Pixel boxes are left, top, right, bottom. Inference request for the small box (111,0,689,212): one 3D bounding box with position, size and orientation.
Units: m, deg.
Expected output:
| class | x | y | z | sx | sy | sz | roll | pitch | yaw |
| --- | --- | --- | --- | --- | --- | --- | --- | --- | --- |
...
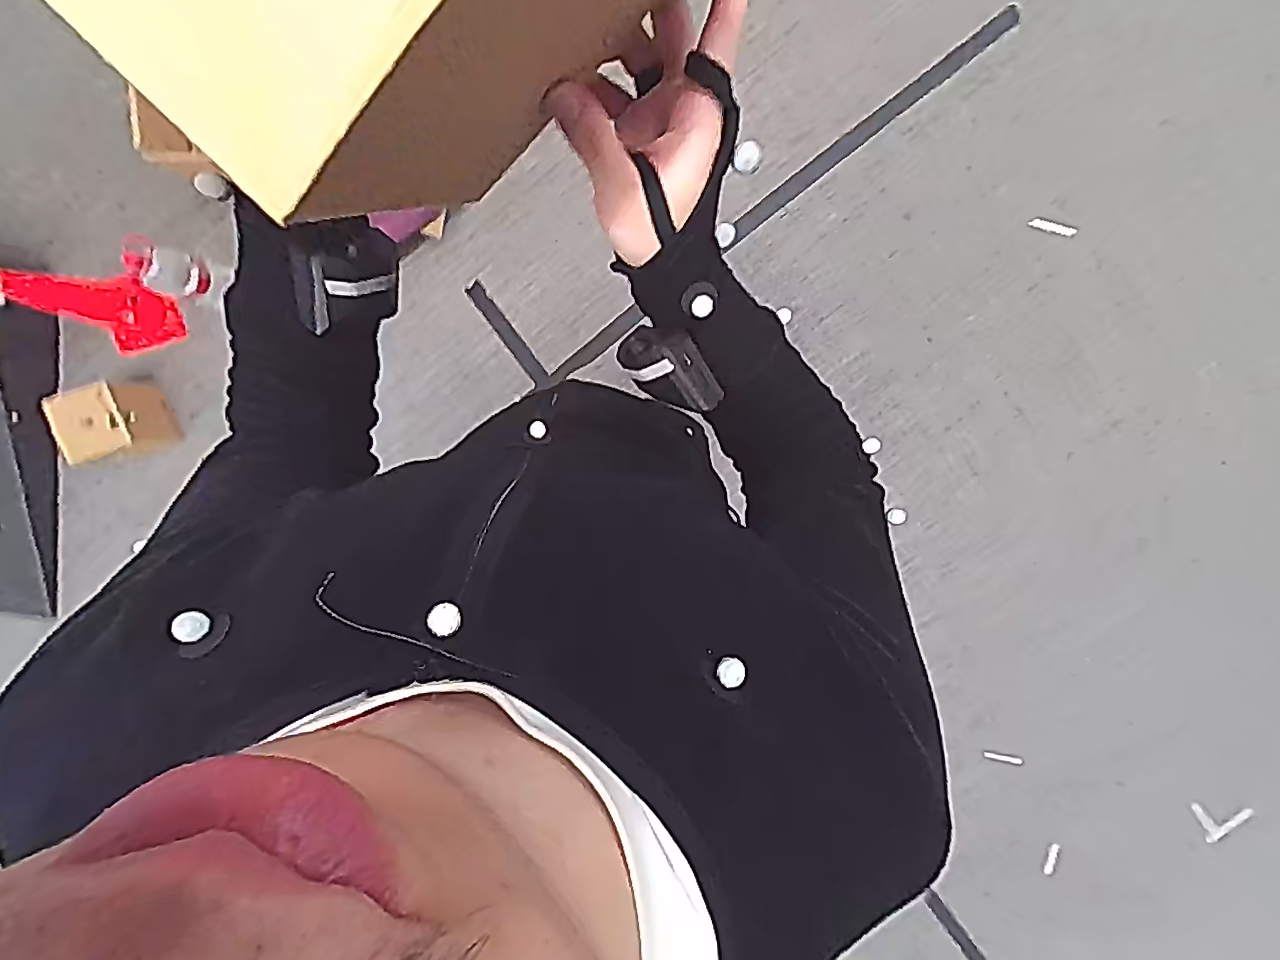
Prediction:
| class | x | y | z | sx | sy | sz | roll | pitch | yaw |
| --- | --- | --- | --- | --- | --- | --- | --- | --- | --- |
| small box | -0.072 | -0.215 | 0.169 | 0.179 | 0.176 | 0.168 | -35 | 109 | 20 |
